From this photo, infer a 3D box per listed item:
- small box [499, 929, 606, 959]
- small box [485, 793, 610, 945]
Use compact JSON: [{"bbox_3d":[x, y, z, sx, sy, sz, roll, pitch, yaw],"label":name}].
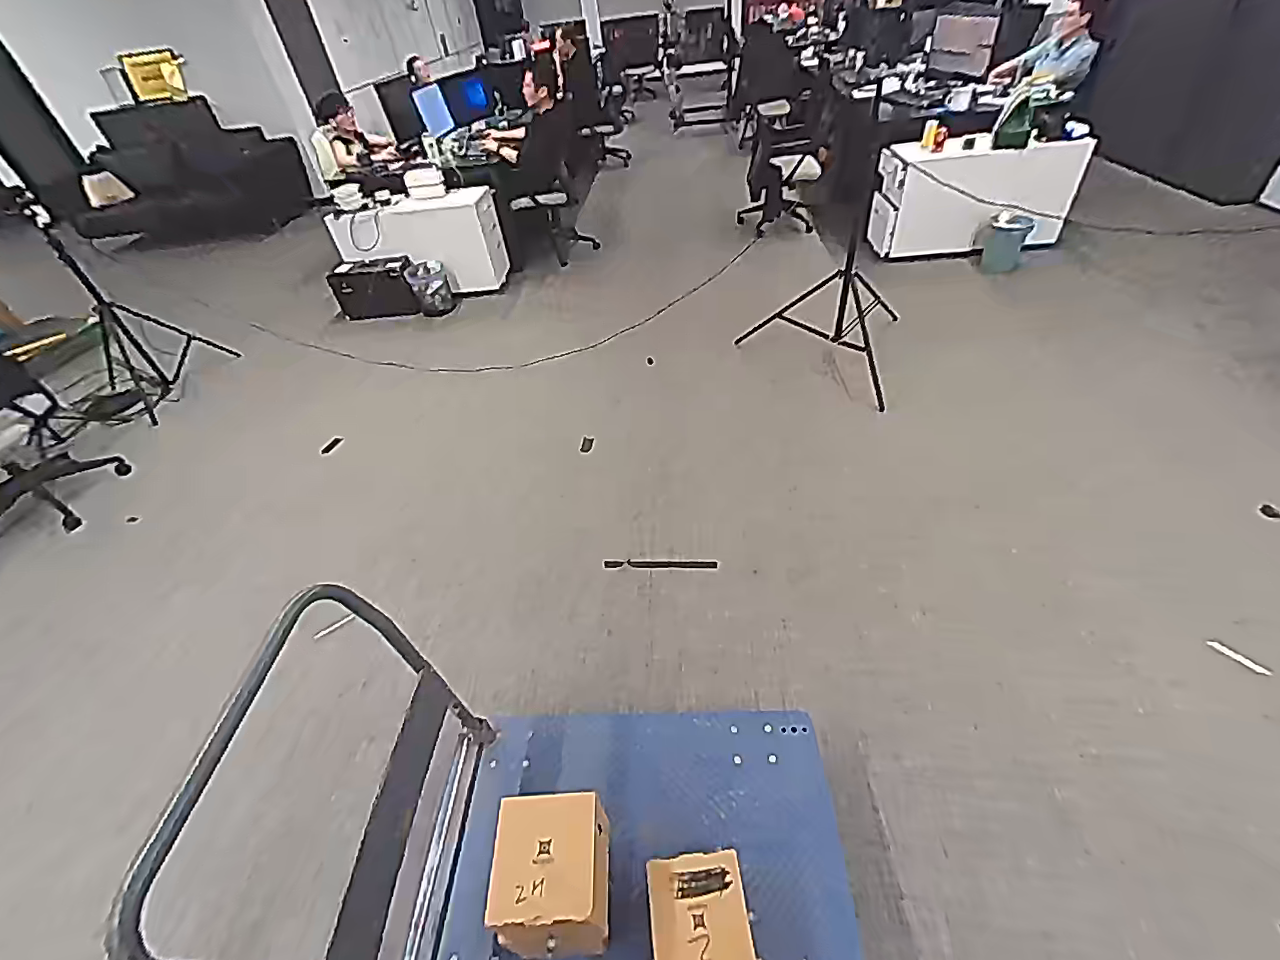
[{"bbox_3d":[-0.154,0.779,1.026,0.168,0.176,0.179,-6,43,2],"label":"small box"},{"bbox_3d":[-0.145,0.656,0.914,0.168,0.176,0.179,-6,43,3],"label":"small box"}]
